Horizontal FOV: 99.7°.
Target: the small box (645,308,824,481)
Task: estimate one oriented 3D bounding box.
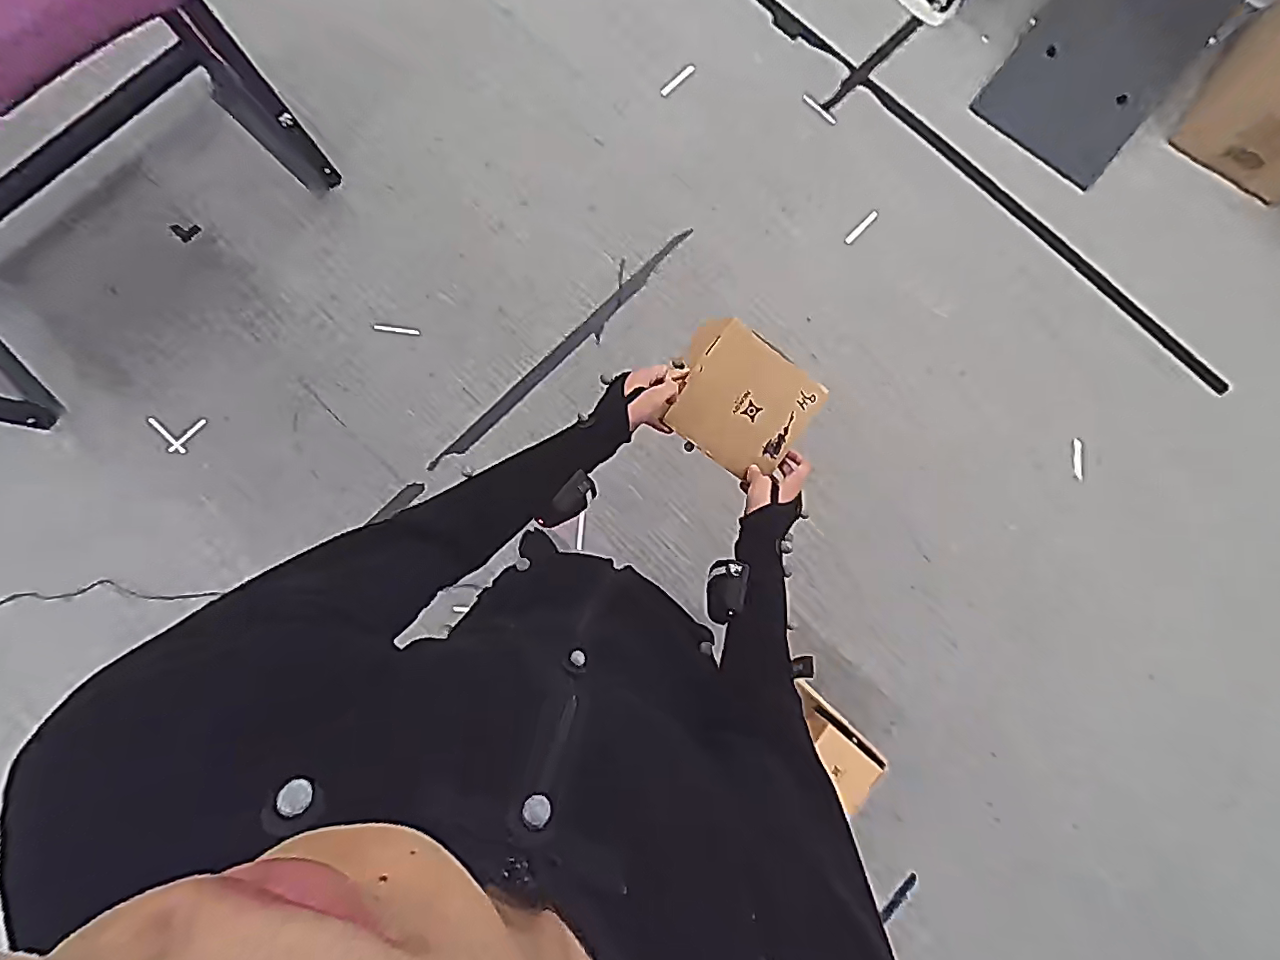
[{"bbox_3d":[0.124,-0.124,0.794,0.179,0.176,0.168,34,96,-12],"label":"small box"}]
